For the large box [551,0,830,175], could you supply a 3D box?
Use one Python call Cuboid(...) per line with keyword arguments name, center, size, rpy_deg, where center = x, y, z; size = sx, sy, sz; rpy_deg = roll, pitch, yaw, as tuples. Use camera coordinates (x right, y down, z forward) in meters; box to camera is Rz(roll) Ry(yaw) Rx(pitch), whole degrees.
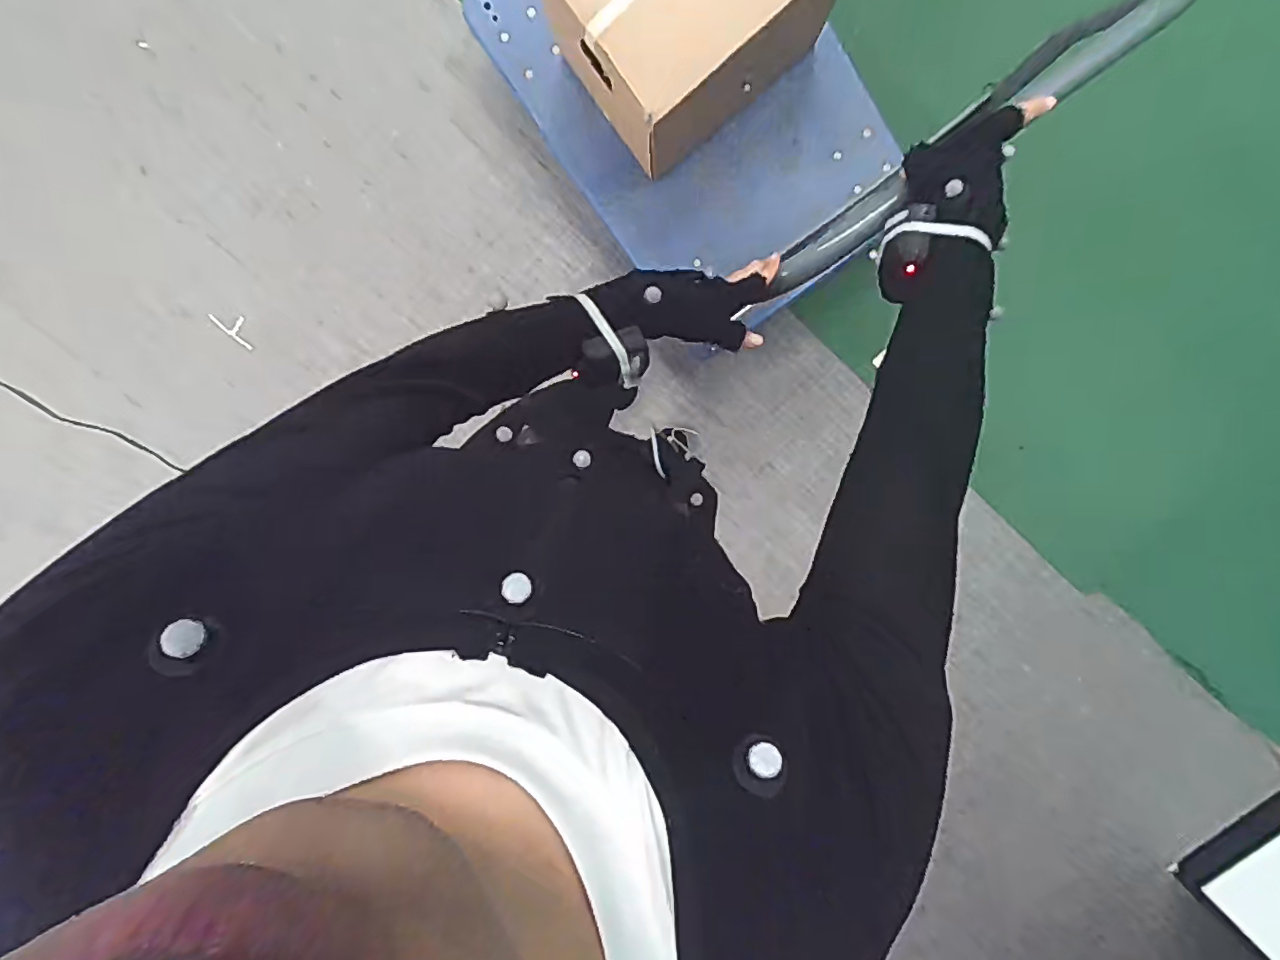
Cuboid(name="large box", center=(0.095, -0.834, 0.934), size=(0.408, 0.320, 0.320), rpy_deg=(-37, 99, 11))
